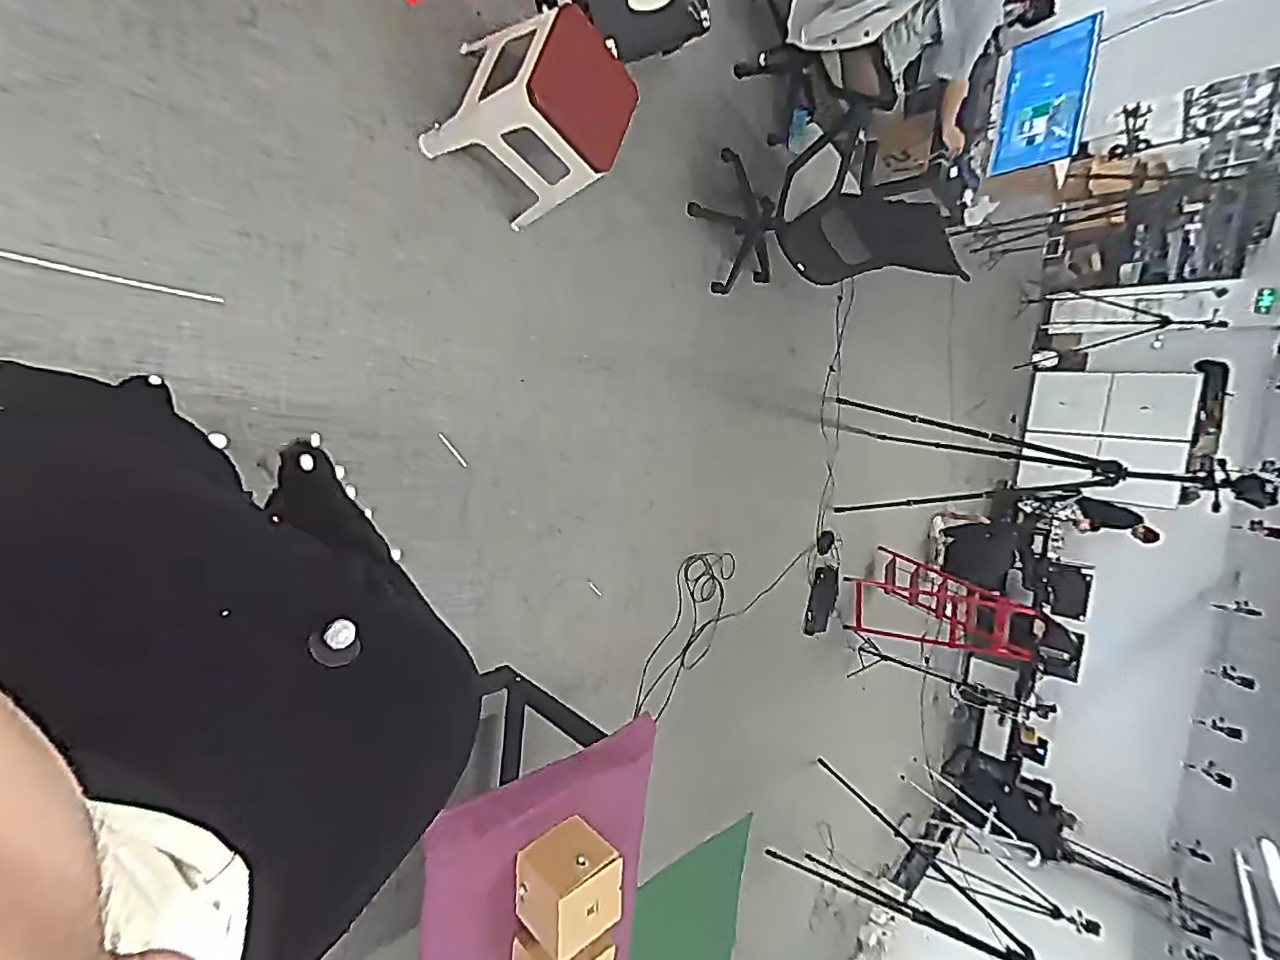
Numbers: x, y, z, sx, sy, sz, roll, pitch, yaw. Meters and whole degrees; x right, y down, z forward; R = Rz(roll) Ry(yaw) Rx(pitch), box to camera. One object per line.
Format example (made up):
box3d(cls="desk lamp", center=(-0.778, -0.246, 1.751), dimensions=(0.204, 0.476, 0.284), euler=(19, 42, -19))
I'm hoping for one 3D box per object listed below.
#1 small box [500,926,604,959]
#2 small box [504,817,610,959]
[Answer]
box3d(cls="small box", center=(-0.212, 1.150, 1.269), dimensions=(0.179, 0.176, 0.168), euler=(1, 98, -45))
box3d(cls="small box", center=(-0.191, 0.925, 1.241), dimensions=(0.179, 0.176, 0.168), euler=(-5, 102, -44))
